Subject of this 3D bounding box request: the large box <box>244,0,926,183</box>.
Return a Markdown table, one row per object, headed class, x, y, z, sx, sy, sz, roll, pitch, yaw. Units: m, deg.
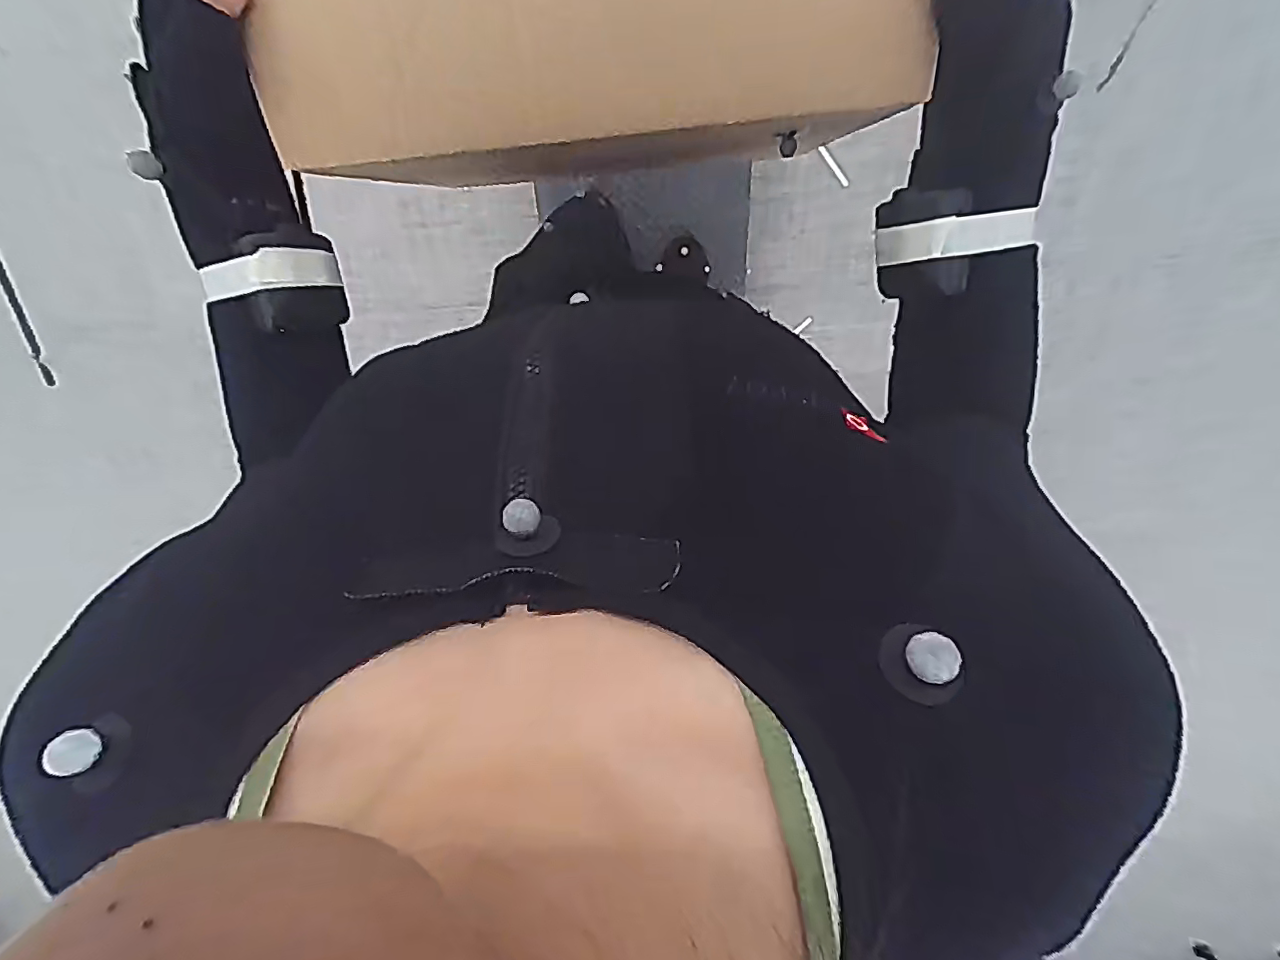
| class | x | y | z | sx | sy | sz | roll | pitch | yaw |
| --- | --- | --- | --- | --- | --- | --- | --- | --- | --- |
| large box | -0.037 | -0.423 | 0.410 | 0.408 | 0.320 | 0.320 | -4 | 115 | 3 |
